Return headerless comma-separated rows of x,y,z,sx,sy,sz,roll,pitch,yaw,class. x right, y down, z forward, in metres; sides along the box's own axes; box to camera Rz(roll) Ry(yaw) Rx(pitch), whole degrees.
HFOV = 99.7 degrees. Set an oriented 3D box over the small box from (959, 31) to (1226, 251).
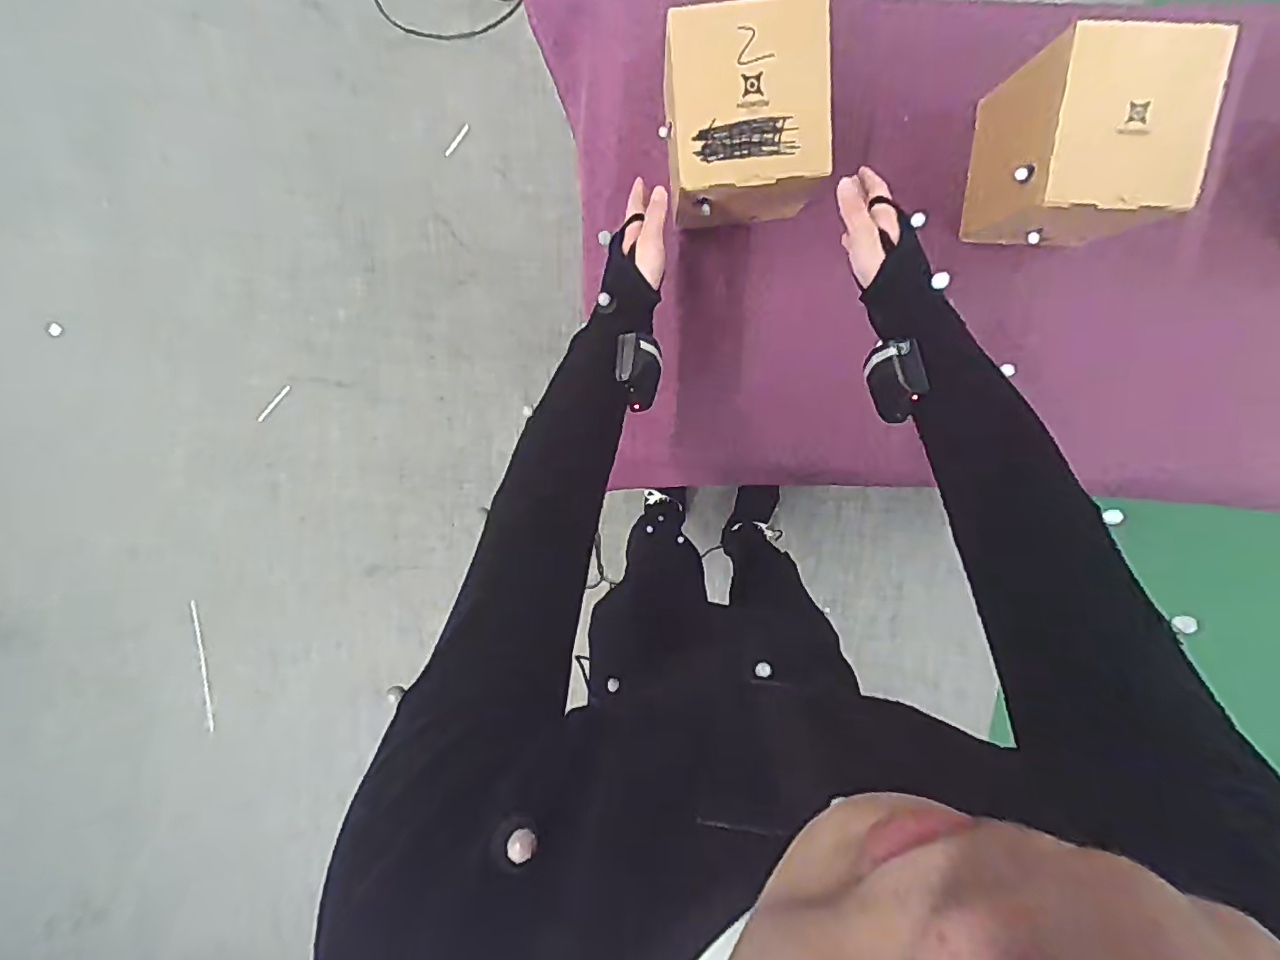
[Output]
0.518,-0.389,0.650,0.168,0.176,0.179,2,103,0,small box
